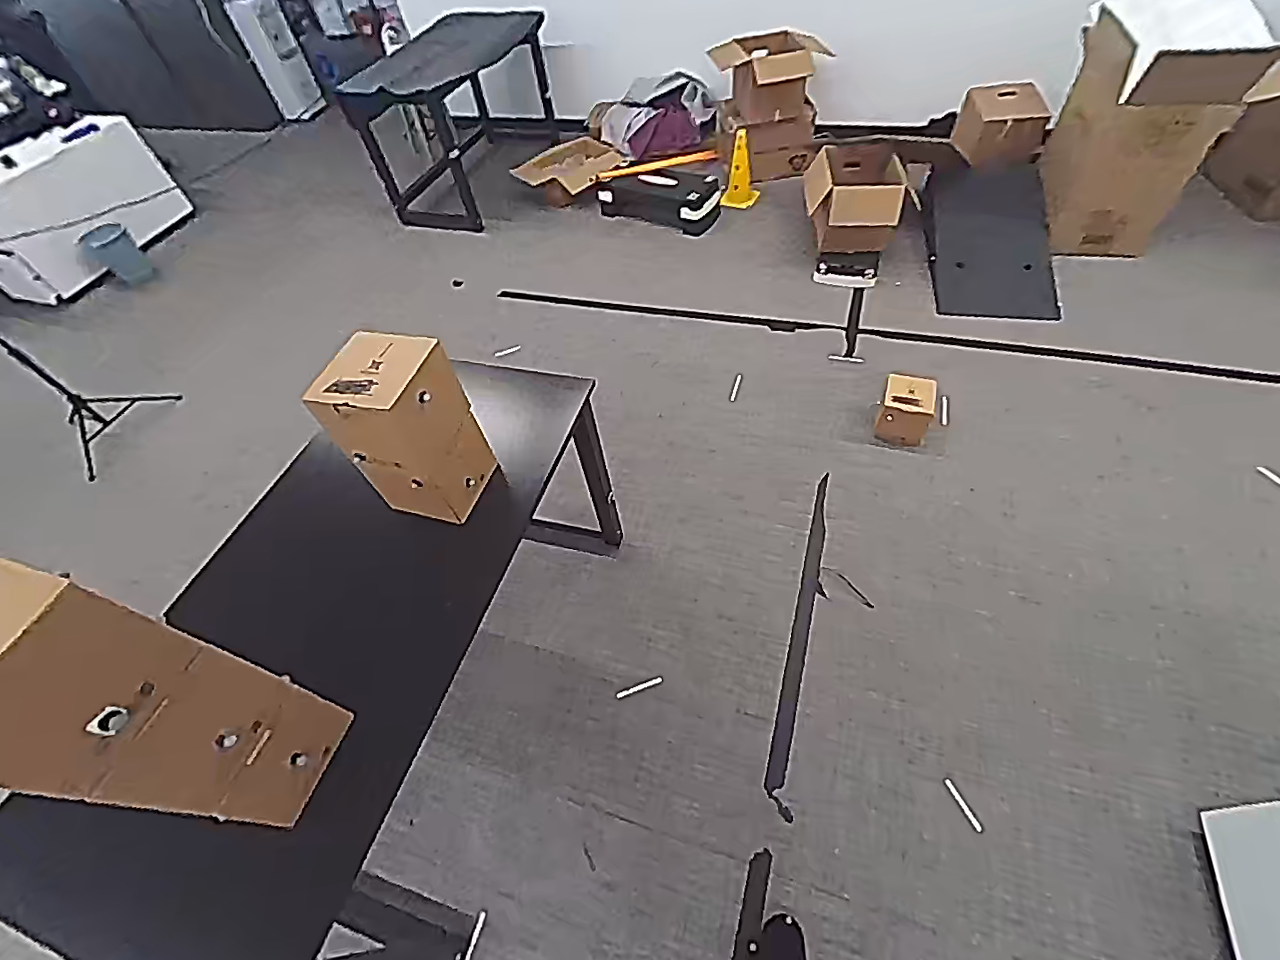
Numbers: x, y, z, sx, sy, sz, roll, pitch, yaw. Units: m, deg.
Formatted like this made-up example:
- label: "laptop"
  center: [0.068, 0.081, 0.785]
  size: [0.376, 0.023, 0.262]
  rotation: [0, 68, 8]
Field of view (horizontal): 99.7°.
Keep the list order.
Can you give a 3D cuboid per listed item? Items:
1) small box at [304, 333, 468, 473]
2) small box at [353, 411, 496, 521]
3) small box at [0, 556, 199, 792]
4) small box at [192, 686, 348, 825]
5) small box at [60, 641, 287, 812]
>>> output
- label: "small box"
  center: [-0.430, -0.133, 0.953]
  size: [0.168, 0.176, 0.179]
  rotation: [8, 54, 12]
- label: "small box"
  center: [-0.420, -0.036, 1.085]
  size: [0.179, 0.176, 0.168]
  rotation: [11, 55, 14]
- label: "small box"
  center: [-0.607, 0.186, 0.528]
  size: [0.179, 0.176, 0.168]
  rotation: [10, 56, 14]
- label: "small box"
  center: [-0.574, 0.384, 0.788]
  size: [0.179, 0.176, 0.168]
  rotation: [10, 55, 13]
- label: "small box"
  center: [-0.592, 0.284, 0.657]
  size: [0.179, 0.176, 0.168]
  rotation: [10, 56, 14]
